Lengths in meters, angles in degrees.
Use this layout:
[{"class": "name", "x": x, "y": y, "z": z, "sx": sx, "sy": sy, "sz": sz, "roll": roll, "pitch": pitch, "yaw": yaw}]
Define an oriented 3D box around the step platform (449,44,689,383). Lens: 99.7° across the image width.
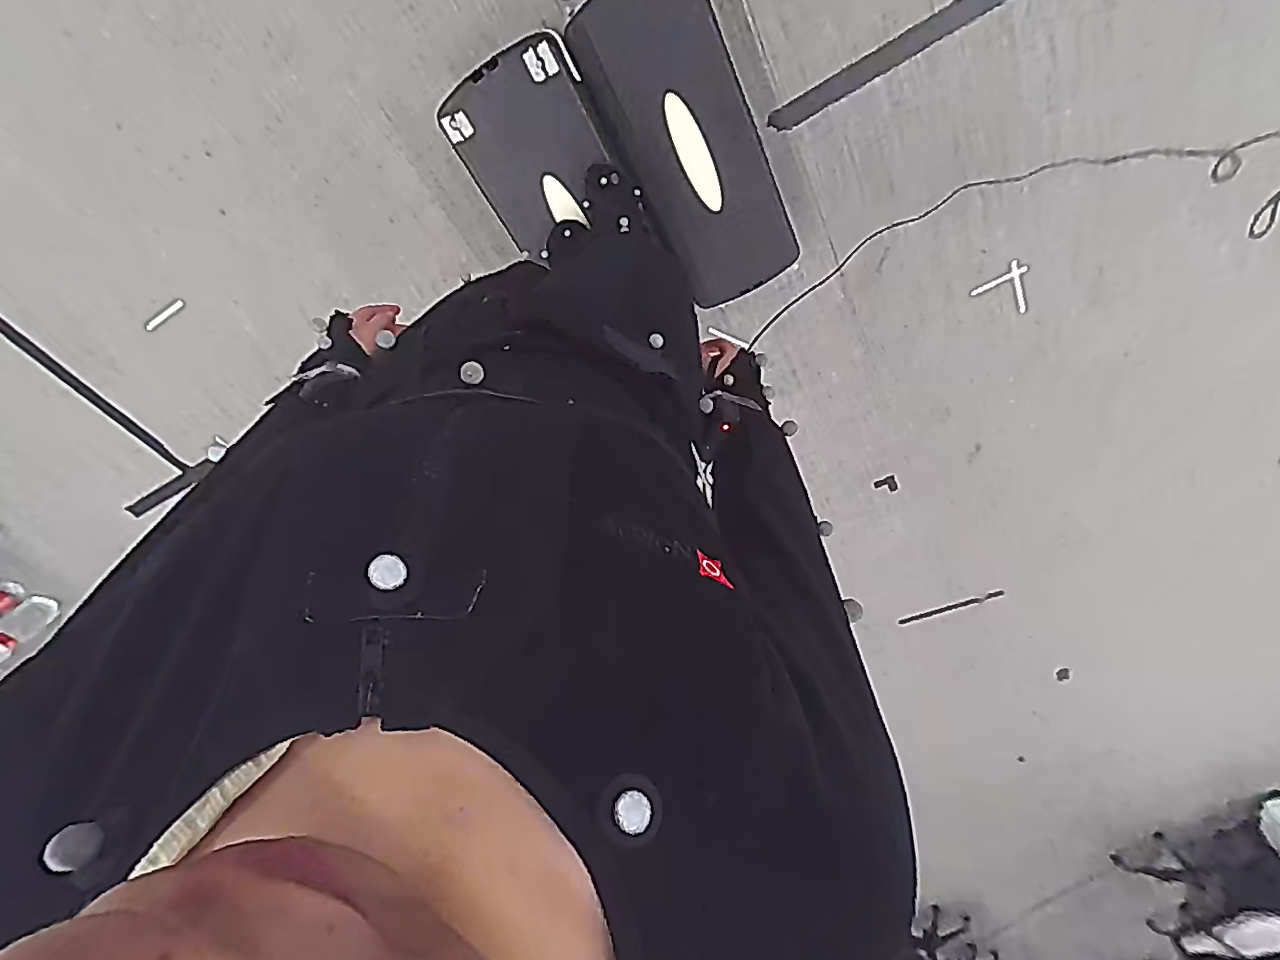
[{"class": "step platform", "x": -0.131, "y": -0.569, "z": 1.255, "sx": 0.286, "sy": 0.204, "sz": 0.684, "roll": -21, "pitch": 120, "yaw": 14}]
